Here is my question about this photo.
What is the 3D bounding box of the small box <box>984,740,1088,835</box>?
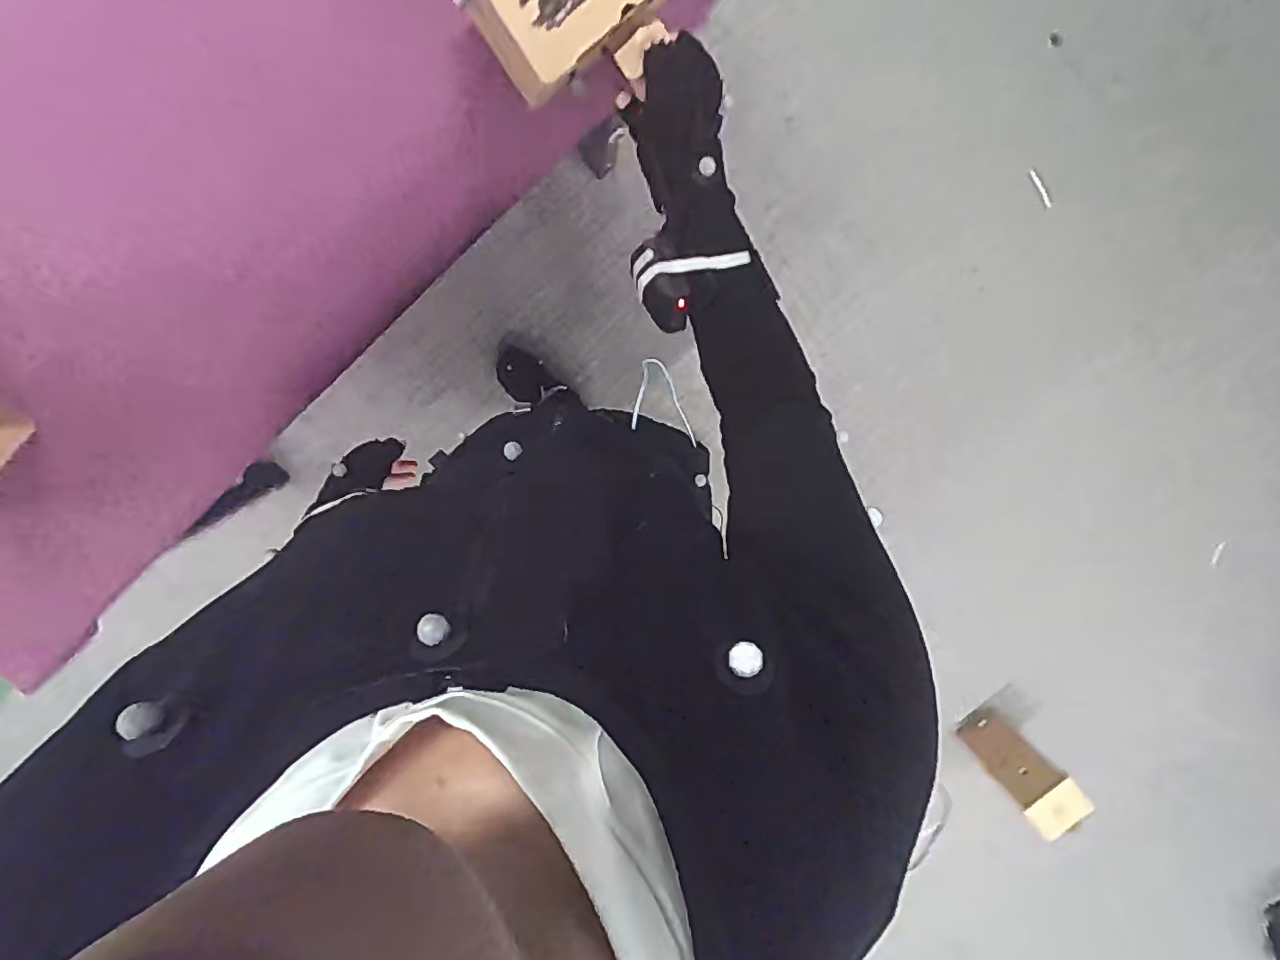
[{"bbox_3d":[1.235,0.955,1.700,0.168,0.176,0.179,-42,107,5],"label":"small box"}]

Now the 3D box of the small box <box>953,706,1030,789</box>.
[{"bbox_3d":[1.230,0.922,1.862,0.168,0.176,0.179,-39,107,4],"label":"small box"}]
